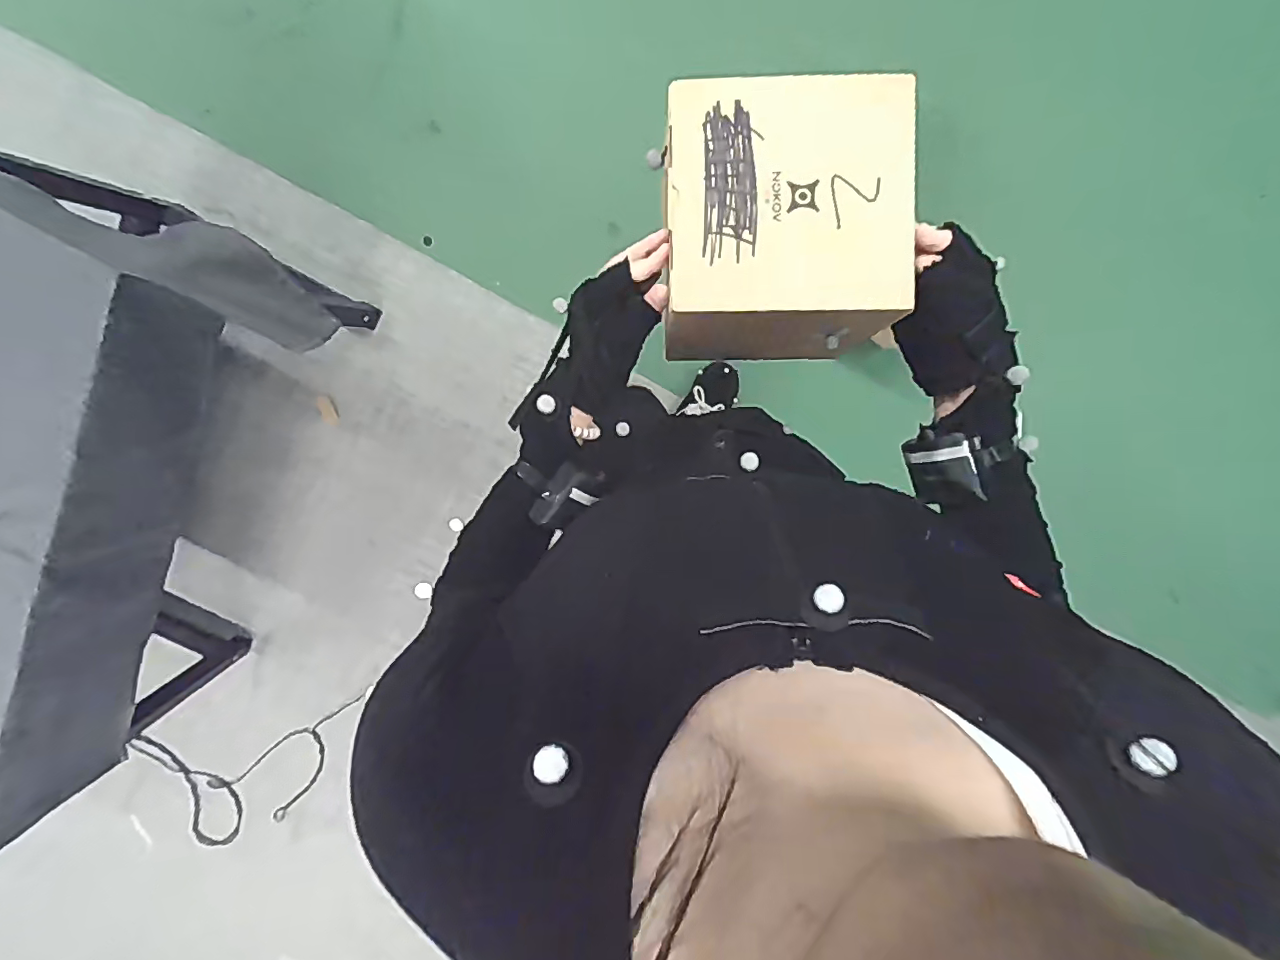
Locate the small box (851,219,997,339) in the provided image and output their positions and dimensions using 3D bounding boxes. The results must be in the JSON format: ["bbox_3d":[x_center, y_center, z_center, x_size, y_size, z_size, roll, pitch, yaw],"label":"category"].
[{"bbox_3d":[0.582,-0.412,1.132,0.179,0.176,0.168,28,103,-6],"label":"small box"}]
